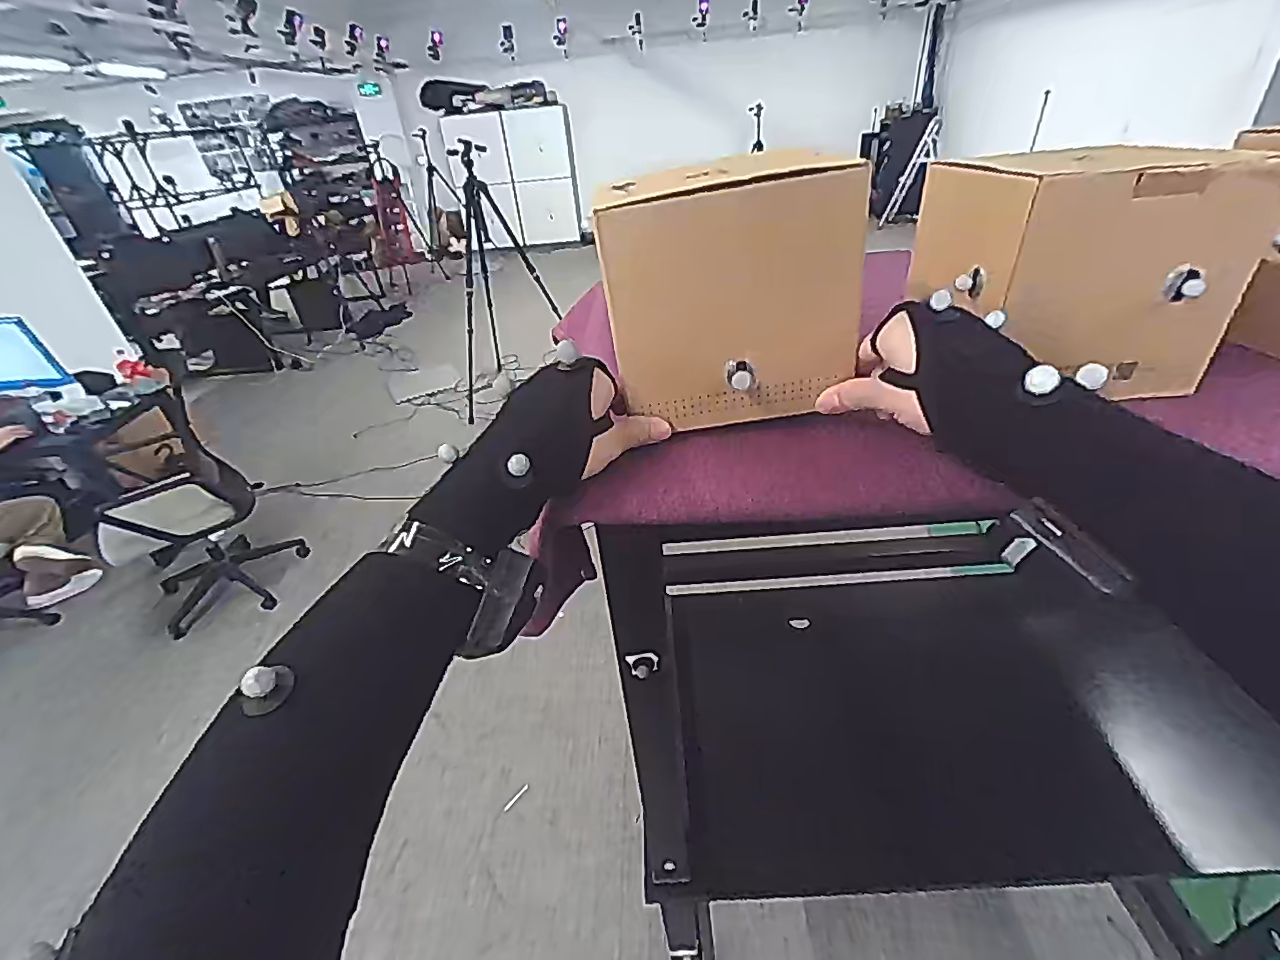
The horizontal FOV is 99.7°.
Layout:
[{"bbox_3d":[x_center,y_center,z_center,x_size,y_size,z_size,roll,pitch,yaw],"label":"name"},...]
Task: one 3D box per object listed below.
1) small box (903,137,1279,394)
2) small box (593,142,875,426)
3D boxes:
[{"bbox_3d":[0.345,-0.177,0.453,0.168,0.176,0.179,-2,32,4],"label":"small box"},{"bbox_3d":[0.064,-0.161,0.438,0.179,0.176,0.168,-8,33,3],"label":"small box"}]
